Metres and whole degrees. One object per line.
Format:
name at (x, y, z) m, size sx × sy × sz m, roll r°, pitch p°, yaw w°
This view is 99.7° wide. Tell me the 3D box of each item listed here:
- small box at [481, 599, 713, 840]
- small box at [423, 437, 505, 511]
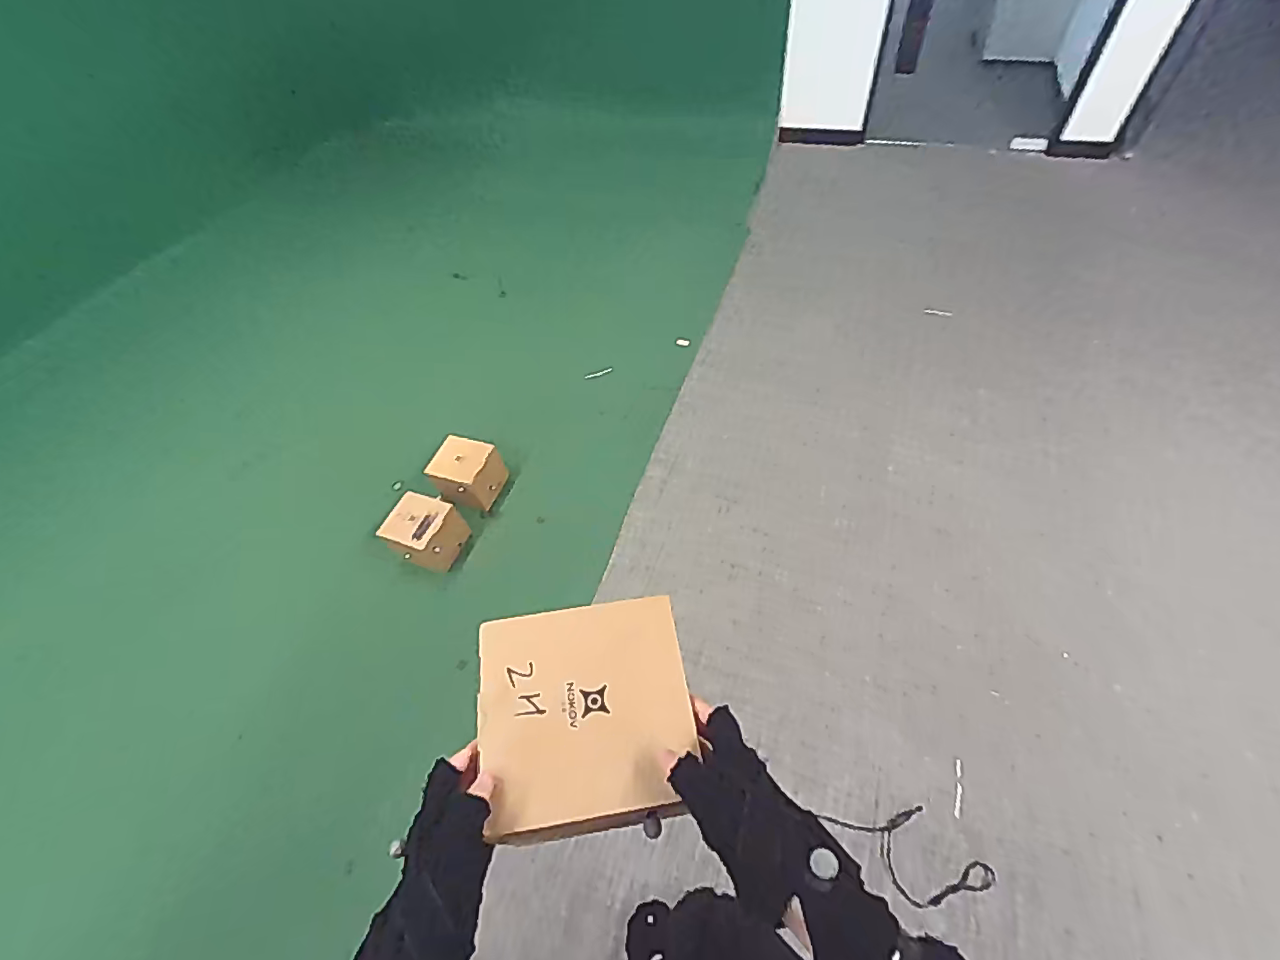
small box at (-0.042, 0.230, 0.511) m, size 0.179 × 0.176 × 0.168 m, roll -7°, pitch 55°, yaw -5°
small box at (-0.580, -0.016, 1.808) m, size 0.179 × 0.176 × 0.168 m, roll 13°, pitch 56°, yaw 14°
